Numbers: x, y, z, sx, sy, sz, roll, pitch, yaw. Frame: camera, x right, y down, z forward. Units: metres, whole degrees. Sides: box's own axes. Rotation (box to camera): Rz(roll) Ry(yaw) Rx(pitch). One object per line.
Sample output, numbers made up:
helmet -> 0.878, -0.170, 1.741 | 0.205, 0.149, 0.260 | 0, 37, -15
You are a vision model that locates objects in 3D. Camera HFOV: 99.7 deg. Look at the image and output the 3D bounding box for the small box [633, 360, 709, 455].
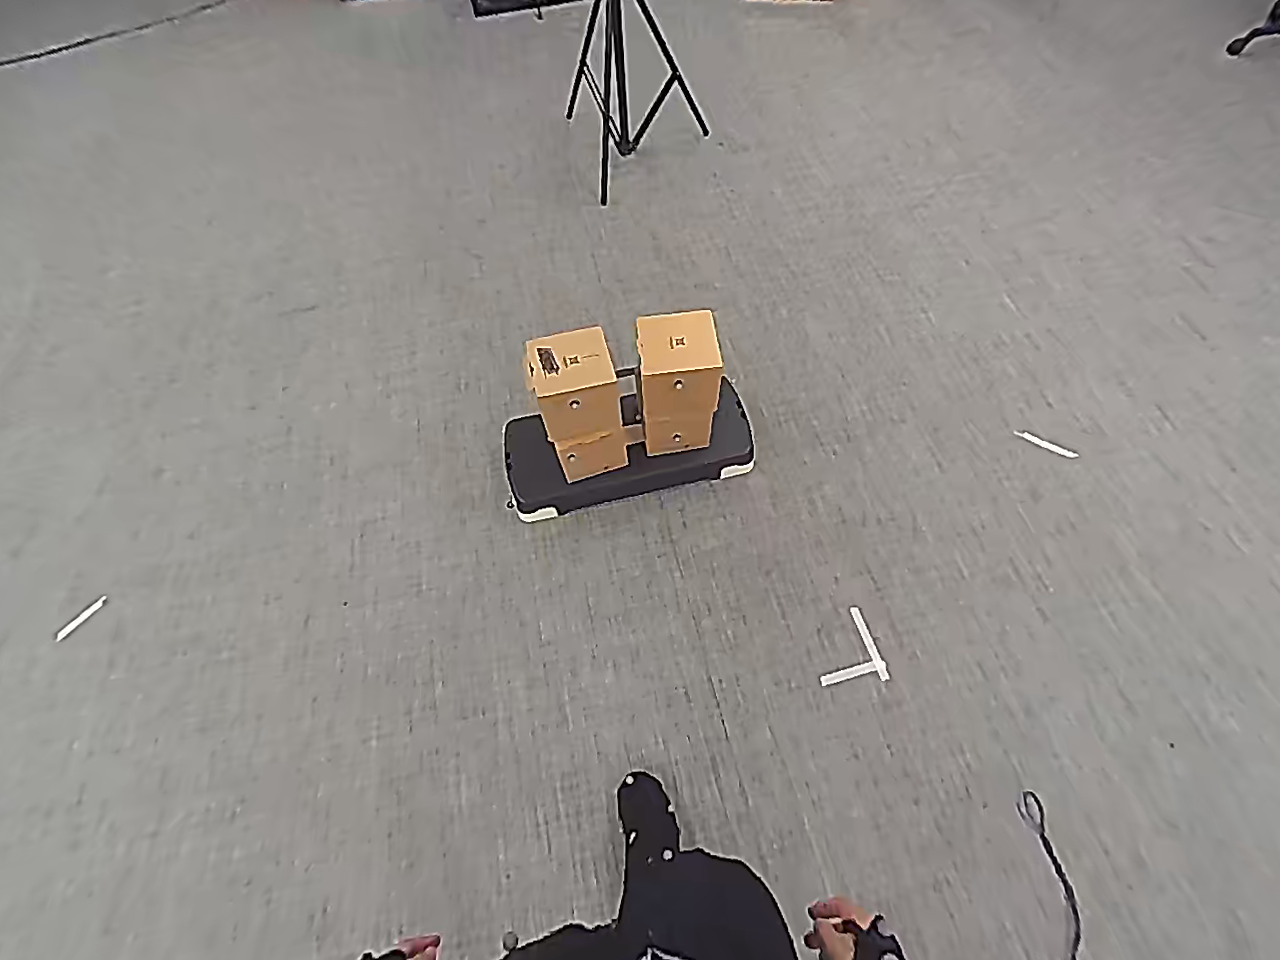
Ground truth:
small box -> 0.080, -0.179, 1.392 | 0.168, 0.176, 0.179 | -9, 62, -2
